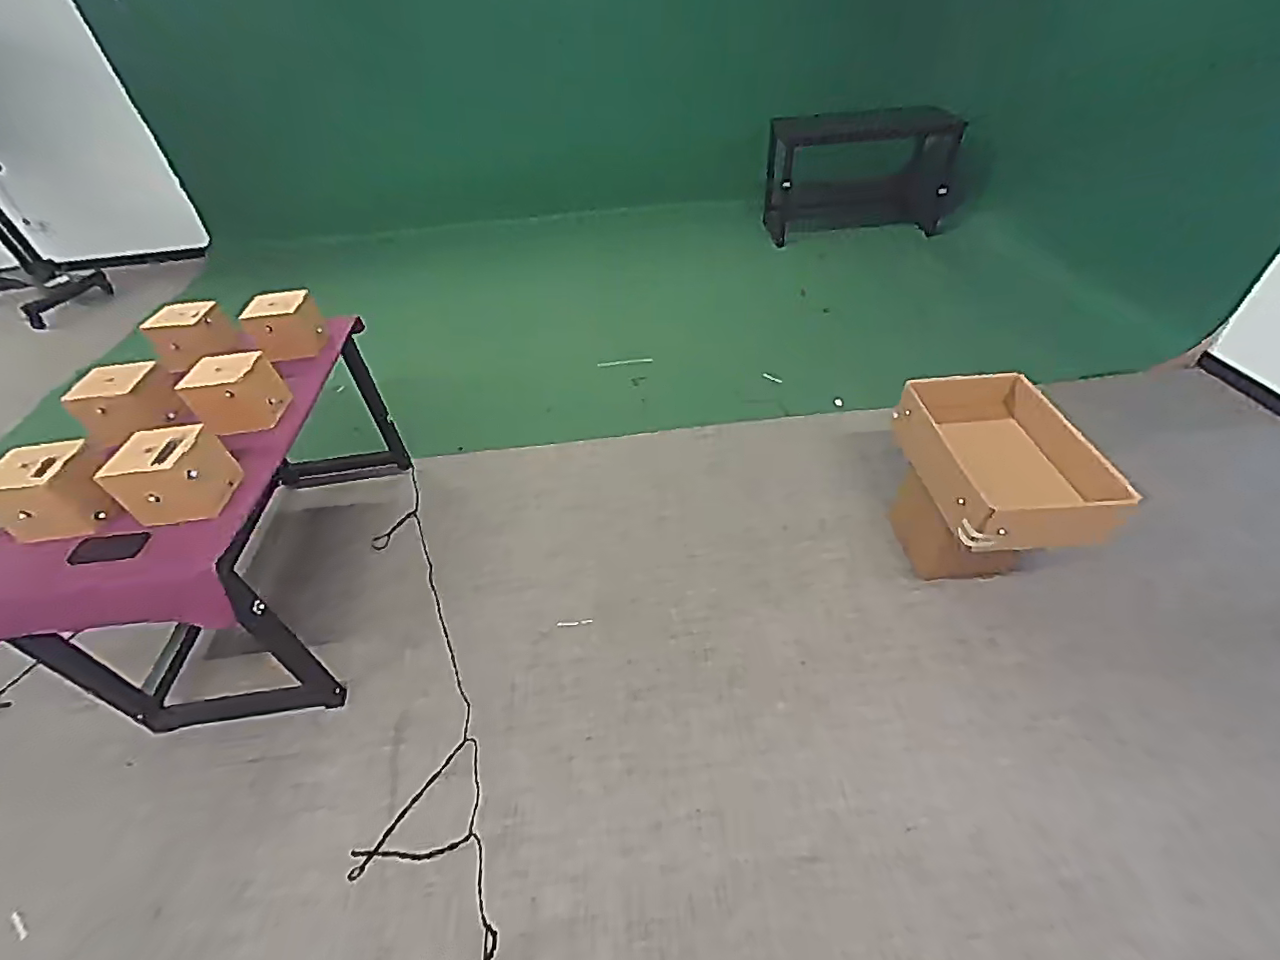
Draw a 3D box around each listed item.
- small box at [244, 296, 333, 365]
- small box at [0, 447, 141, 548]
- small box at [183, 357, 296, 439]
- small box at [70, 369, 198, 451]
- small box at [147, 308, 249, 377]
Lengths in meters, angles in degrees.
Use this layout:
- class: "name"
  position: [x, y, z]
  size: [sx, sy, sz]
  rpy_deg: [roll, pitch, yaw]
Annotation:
- class: "small box"
  position: [-1.199, -0.511, 1.860]
  size: [0.179, 0.176, 0.168]
  rpy_deg: [-8, 45, -3]
- class: "small box"
  position: [-1.389, 0.044, 1.313]
  size: [0.179, 0.176, 0.168]
  rpy_deg: [-9, 44, -2]
- class: "small box"
  position: [-1.156, -0.236, 1.577]
  size: [0.179, 0.176, 0.168]
  rpy_deg: [-7, 44, 0]
- class: "small box"
  position: [-1.460, -0.200, 1.575]
  size: [0.179, 0.176, 0.168]
  rpy_deg: [-8, 45, -3]
- class: "small box"
  position: [-1.506, -0.467, 1.854]
  size: [0.179, 0.176, 0.168]
  rpy_deg: [-7, 45, -1]
